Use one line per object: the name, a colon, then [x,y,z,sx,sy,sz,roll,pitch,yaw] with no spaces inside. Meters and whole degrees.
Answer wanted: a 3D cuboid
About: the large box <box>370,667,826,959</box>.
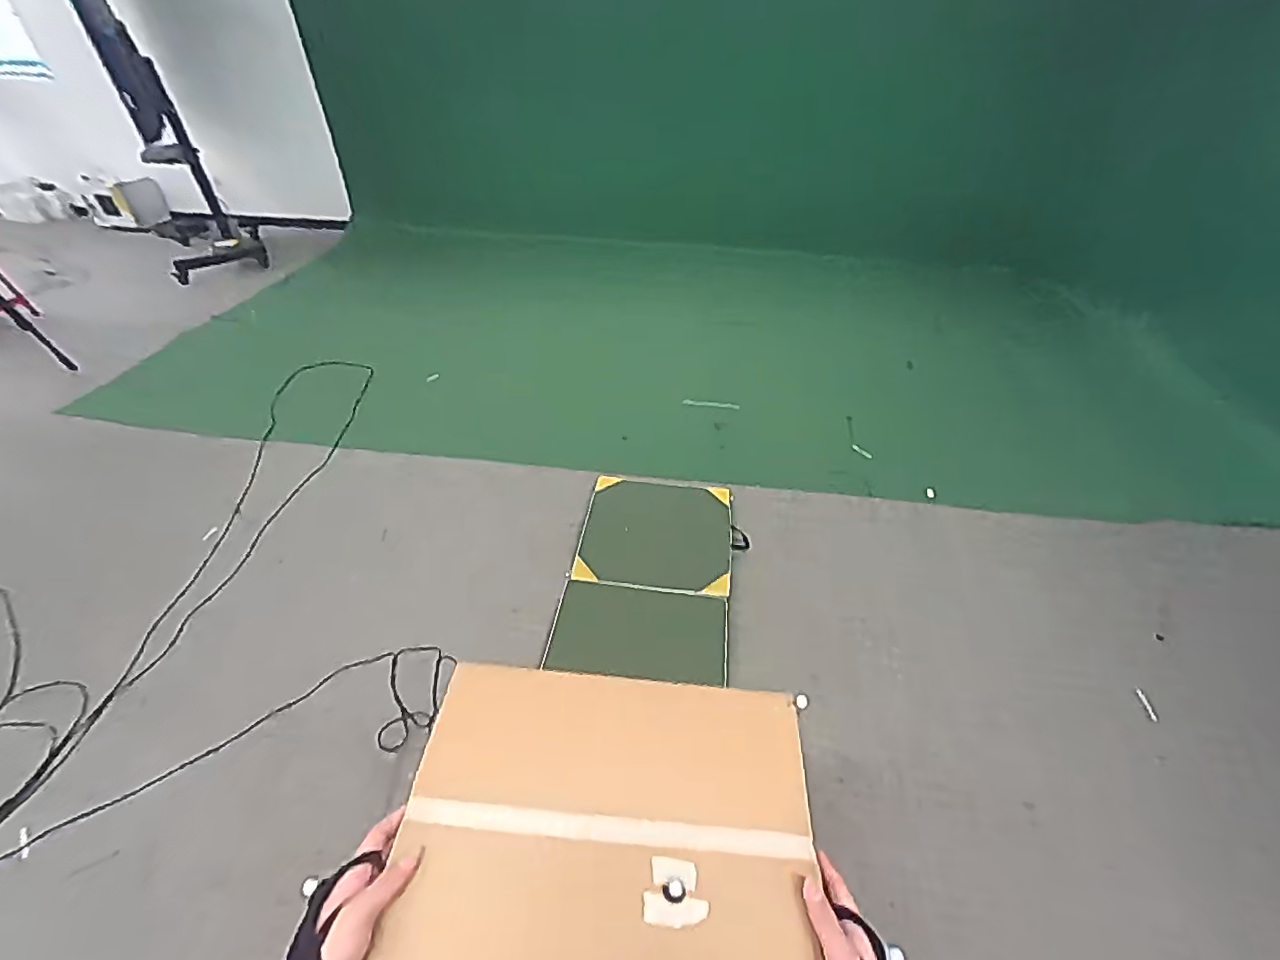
large box: [-0.036,0.454,0.644,0.408,0.320,0.320,5,44,1]
